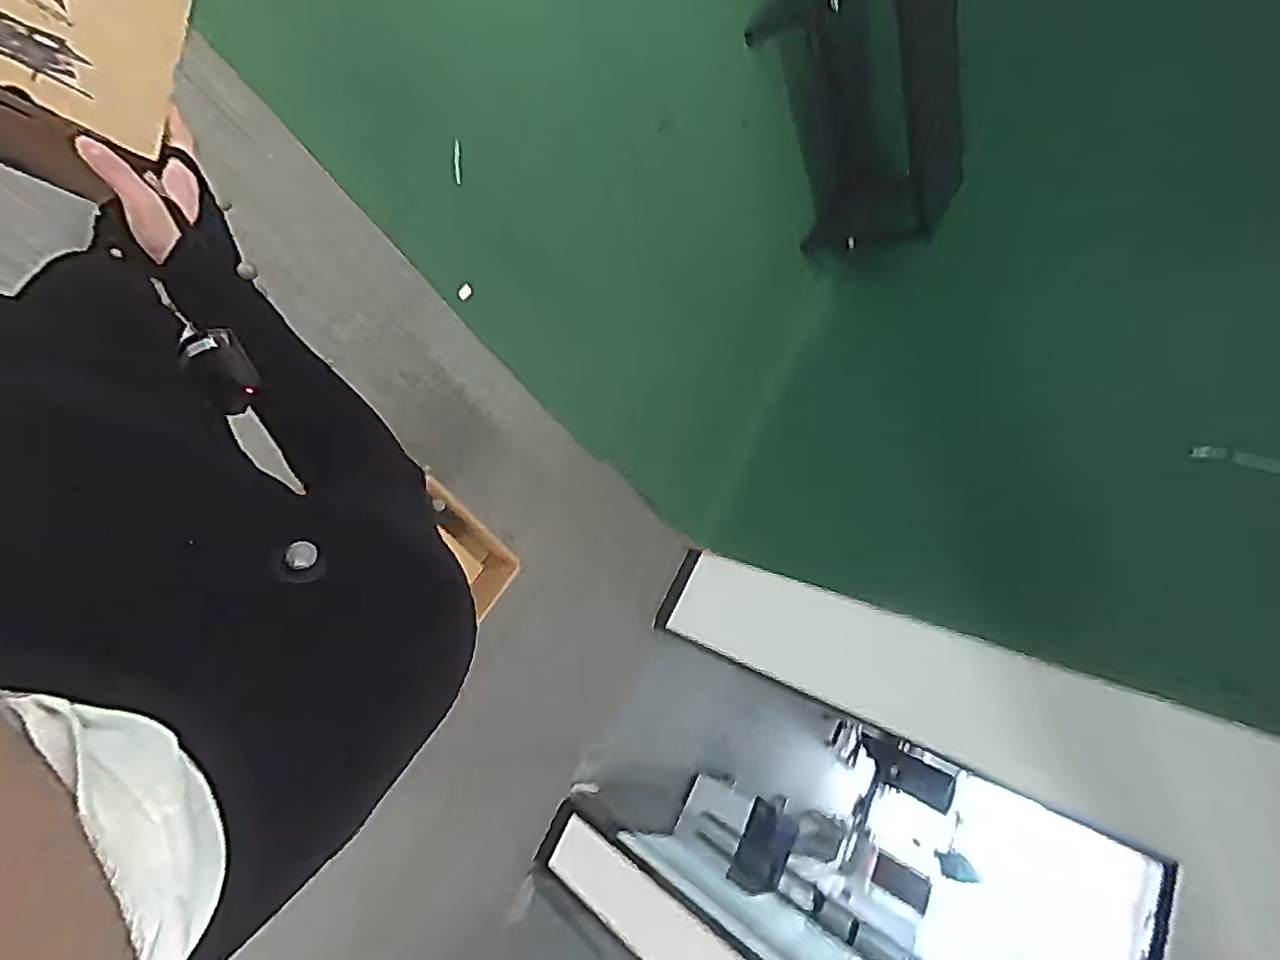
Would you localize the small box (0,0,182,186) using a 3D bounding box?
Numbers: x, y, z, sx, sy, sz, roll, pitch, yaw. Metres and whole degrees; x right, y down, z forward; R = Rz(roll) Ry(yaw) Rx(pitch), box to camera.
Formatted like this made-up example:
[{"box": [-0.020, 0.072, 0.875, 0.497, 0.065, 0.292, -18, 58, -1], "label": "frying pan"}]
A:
[{"box": [-0.526, -0.382, 0.452, 0.168, 0.176, 0.179, 13, 83, -57], "label": "small box"}]
